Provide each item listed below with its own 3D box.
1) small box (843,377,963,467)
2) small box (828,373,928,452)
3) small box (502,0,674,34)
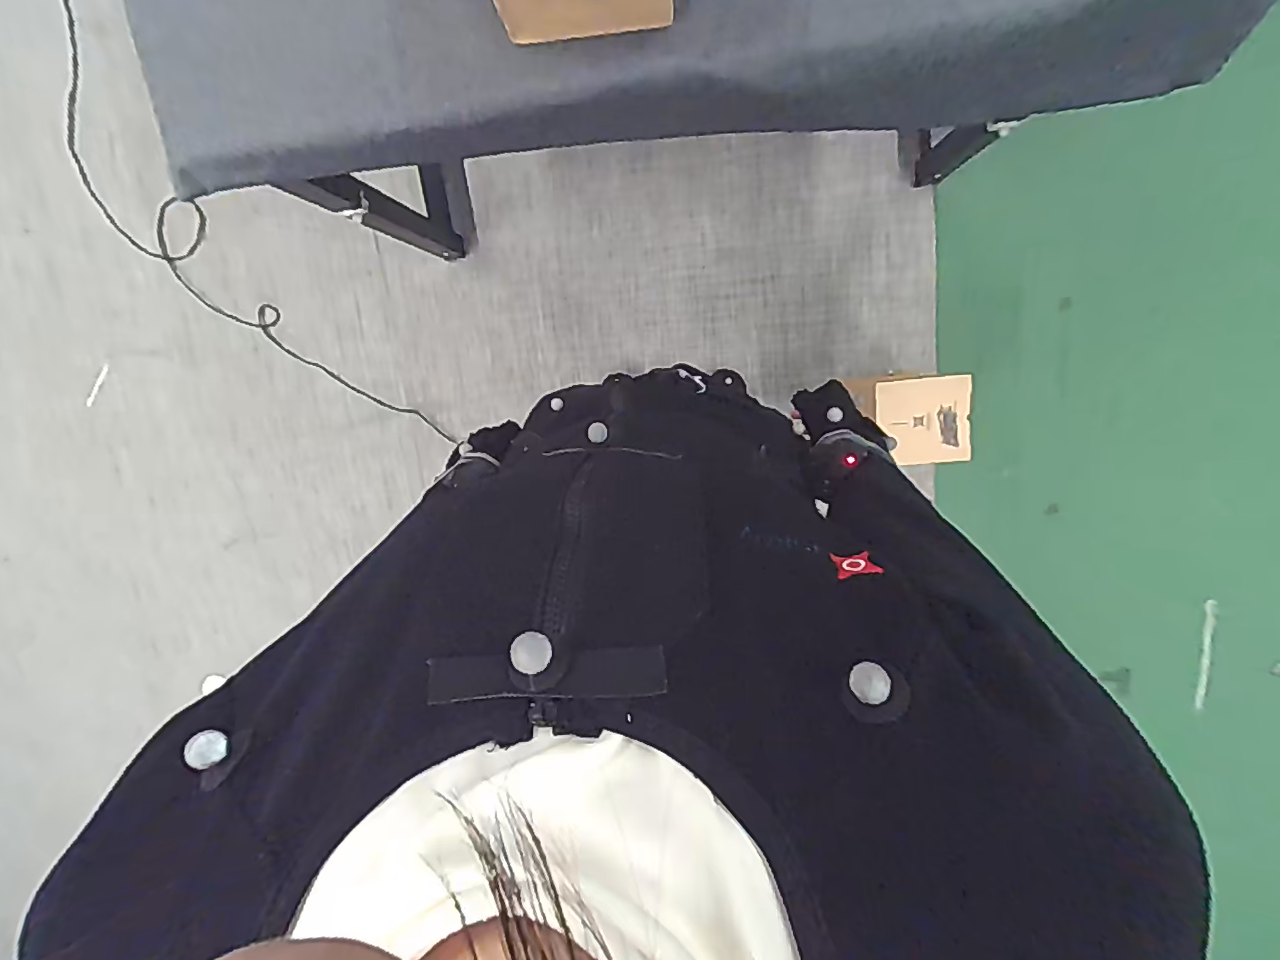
[{"bbox_3d":[0.533,-0.125,1.115,0.179,0.176,0.168,-3,100,6],"label":"small box"},{"bbox_3d":[0.557,-0.160,1.274,0.179,0.176,0.168,-6,100,7],"label":"small box"},{"bbox_3d":[-0.061,-0.548,0.491,0.179,0.176,0.168,-2,101,5],"label":"small box"}]
